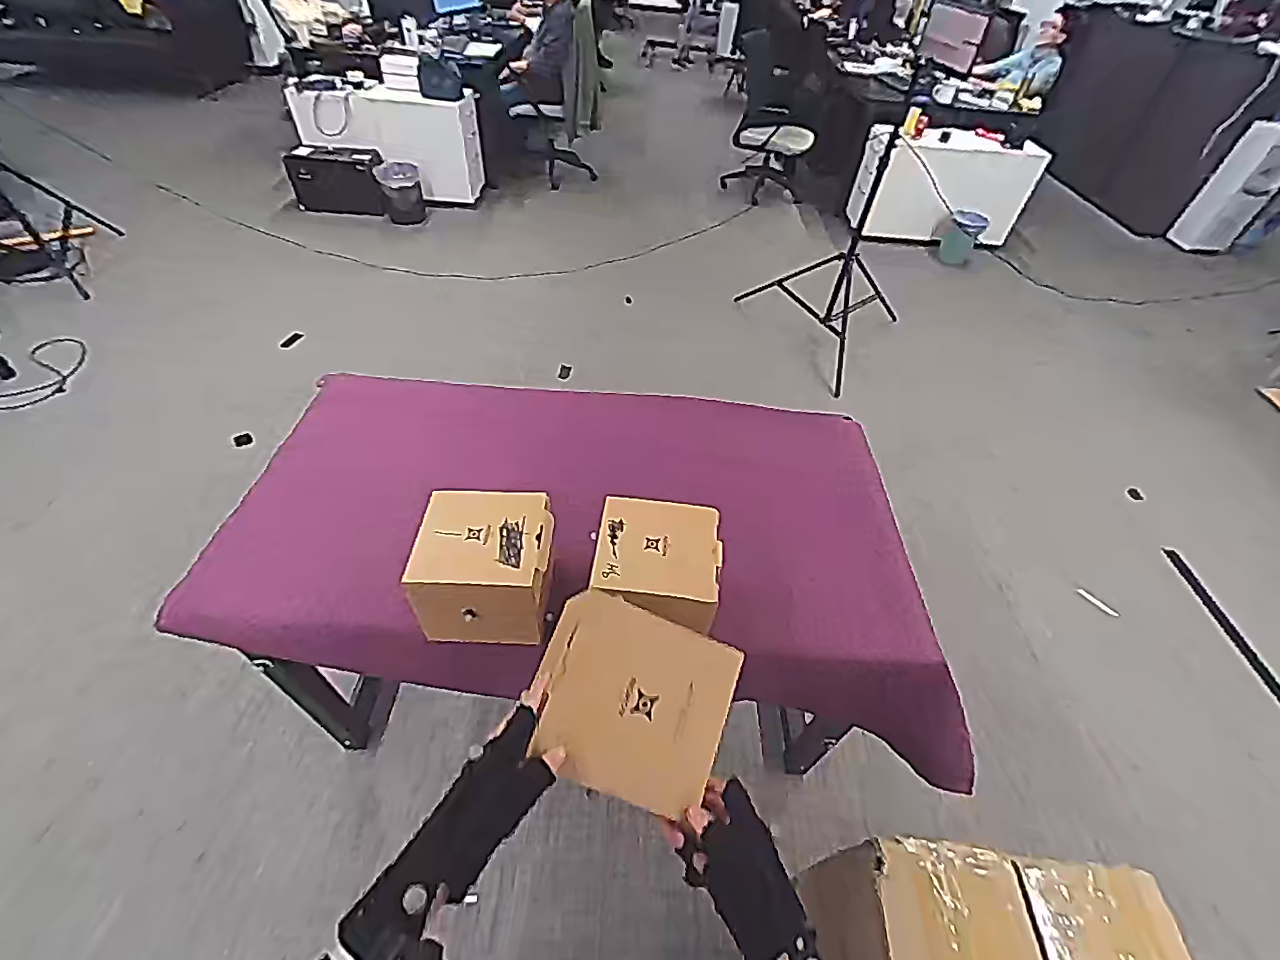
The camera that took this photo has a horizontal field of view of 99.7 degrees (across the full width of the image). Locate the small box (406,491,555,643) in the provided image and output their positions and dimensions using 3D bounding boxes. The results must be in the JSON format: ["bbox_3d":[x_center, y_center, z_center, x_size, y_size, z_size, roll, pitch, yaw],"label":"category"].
[{"bbox_3d":[-0.227,0.137,0.828,0.179,0.176,0.168,2,46,-2],"label":"small box"}]

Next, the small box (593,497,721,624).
[{"bbox_3d":[0.023,0.152,0.837,0.179,0.176,0.168,8,46,1],"label":"small box"}]

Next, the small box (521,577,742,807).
[{"bbox_3d":[-0.020,0.222,0.591,0.179,0.176,0.168,24,70,-8],"label":"small box"}]
